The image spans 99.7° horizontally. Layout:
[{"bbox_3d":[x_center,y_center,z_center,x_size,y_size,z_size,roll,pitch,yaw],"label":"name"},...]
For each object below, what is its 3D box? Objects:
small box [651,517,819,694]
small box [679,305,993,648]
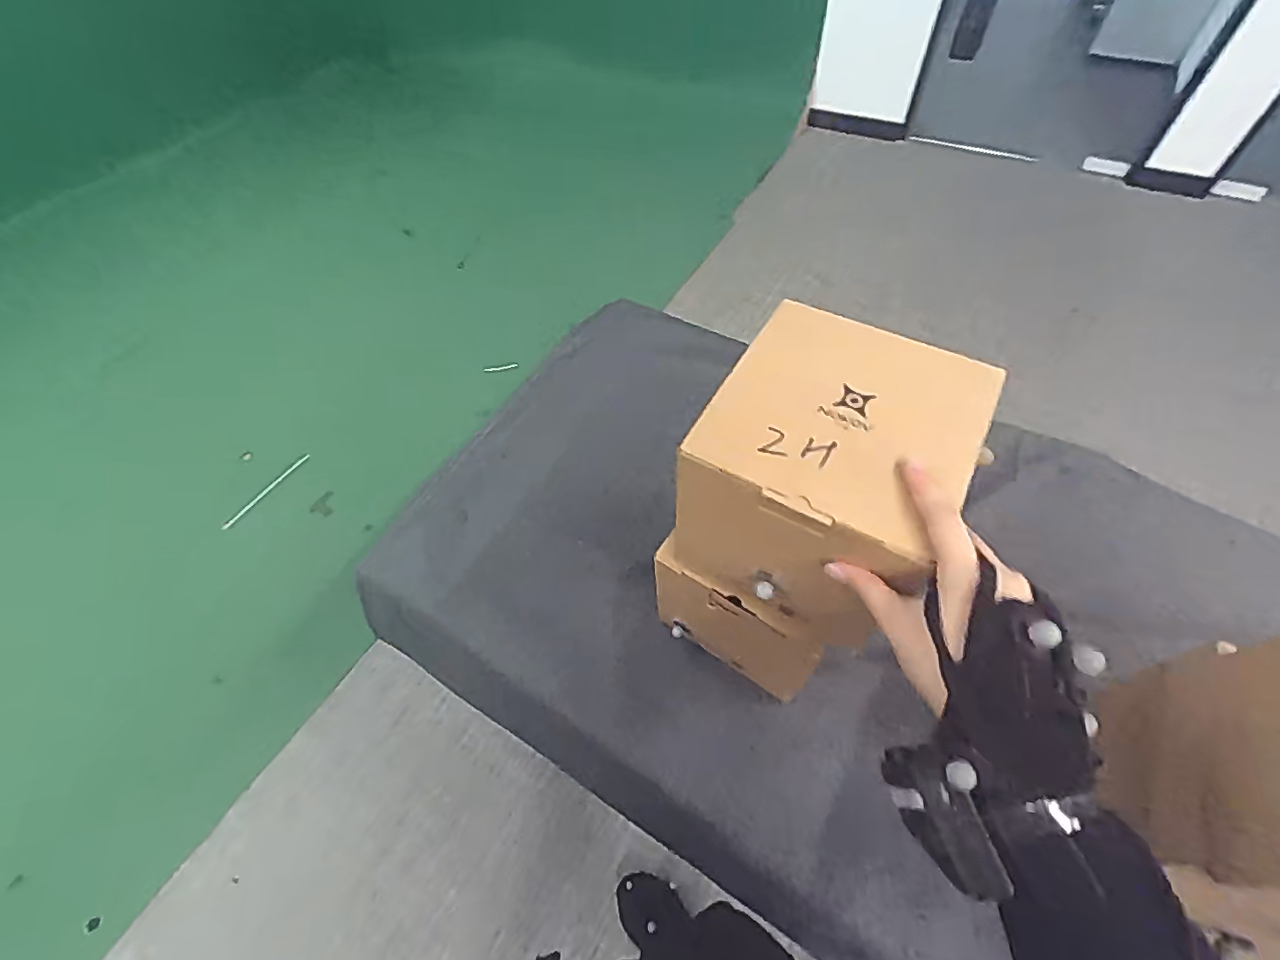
[{"bbox_3d":[0.130,0.093,0.569,0.168,0.176,0.179,29,61,21],"label":"small box"},{"bbox_3d":[0.138,0.000,0.432,0.168,0.176,0.179,26,60,20],"label":"small box"}]
